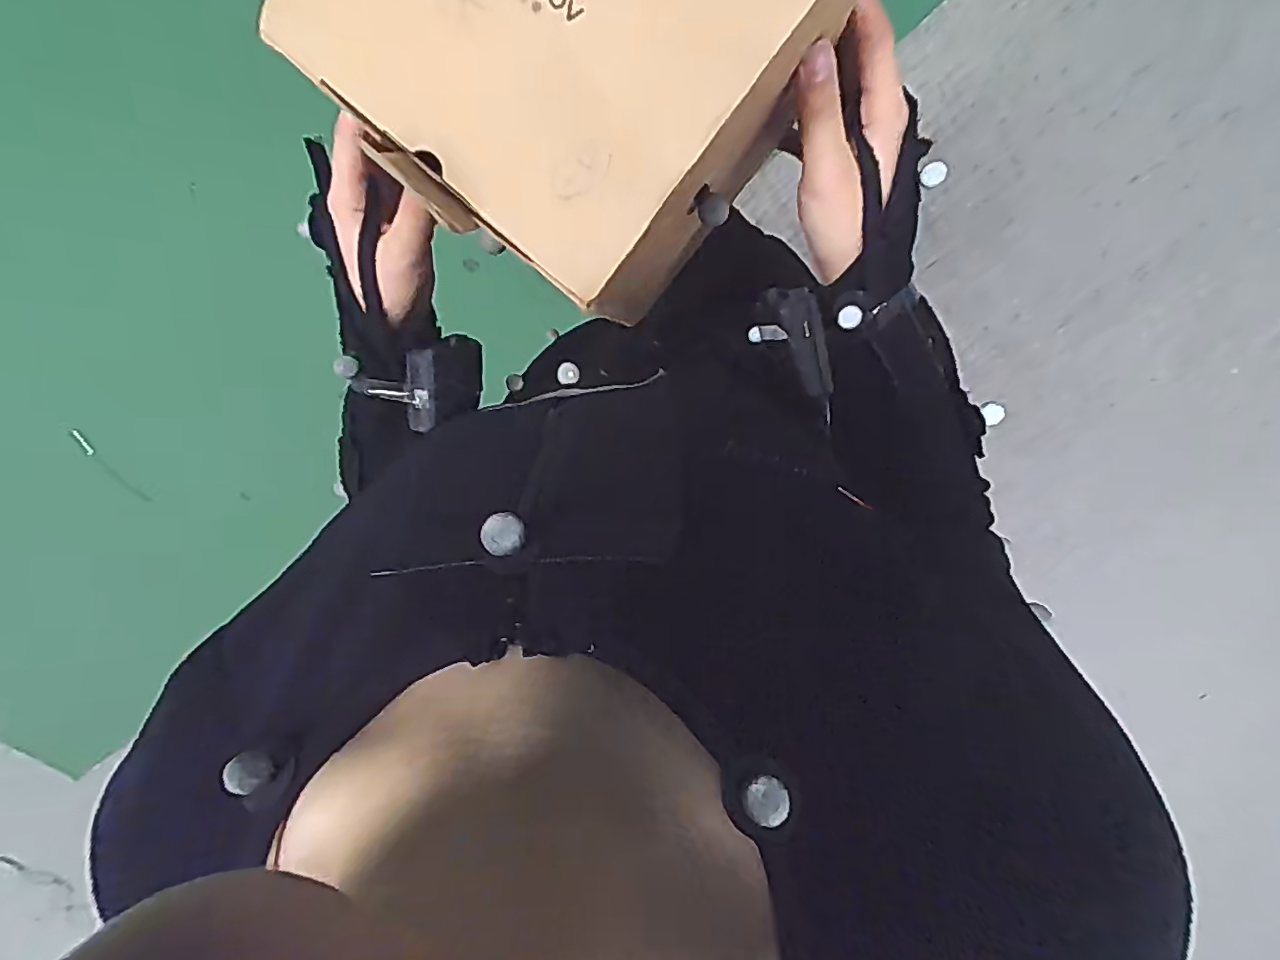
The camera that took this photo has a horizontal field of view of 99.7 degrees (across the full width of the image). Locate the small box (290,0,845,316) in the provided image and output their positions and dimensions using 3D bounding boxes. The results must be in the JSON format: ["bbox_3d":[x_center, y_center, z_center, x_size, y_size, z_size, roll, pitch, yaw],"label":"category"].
[{"bbox_3d":[-0.018,-0.202,0.278,0.168,0.176,0.179,39,105,-4],"label":"small box"}]
